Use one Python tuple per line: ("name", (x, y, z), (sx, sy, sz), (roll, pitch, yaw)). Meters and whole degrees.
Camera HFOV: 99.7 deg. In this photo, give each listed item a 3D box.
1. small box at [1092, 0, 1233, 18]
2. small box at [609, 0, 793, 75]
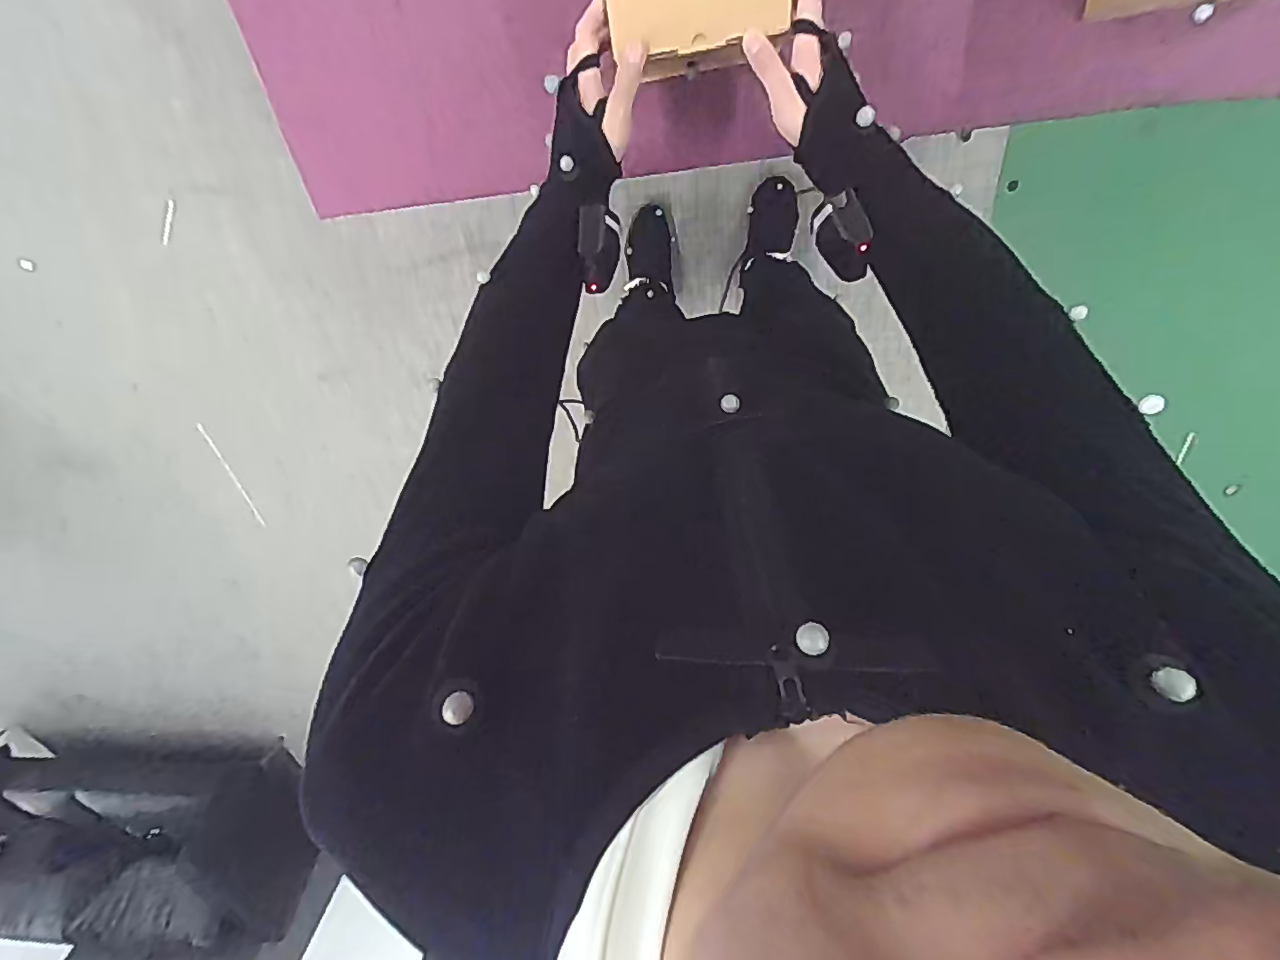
("small box", (0.525, -0.518, 0.445), (0.168, 0.176, 0.179), (-1, 122, 10))
("small box", (0.054, -0.518, 0.522), (0.168, 0.176, 0.179), (-4, 123, 10))
